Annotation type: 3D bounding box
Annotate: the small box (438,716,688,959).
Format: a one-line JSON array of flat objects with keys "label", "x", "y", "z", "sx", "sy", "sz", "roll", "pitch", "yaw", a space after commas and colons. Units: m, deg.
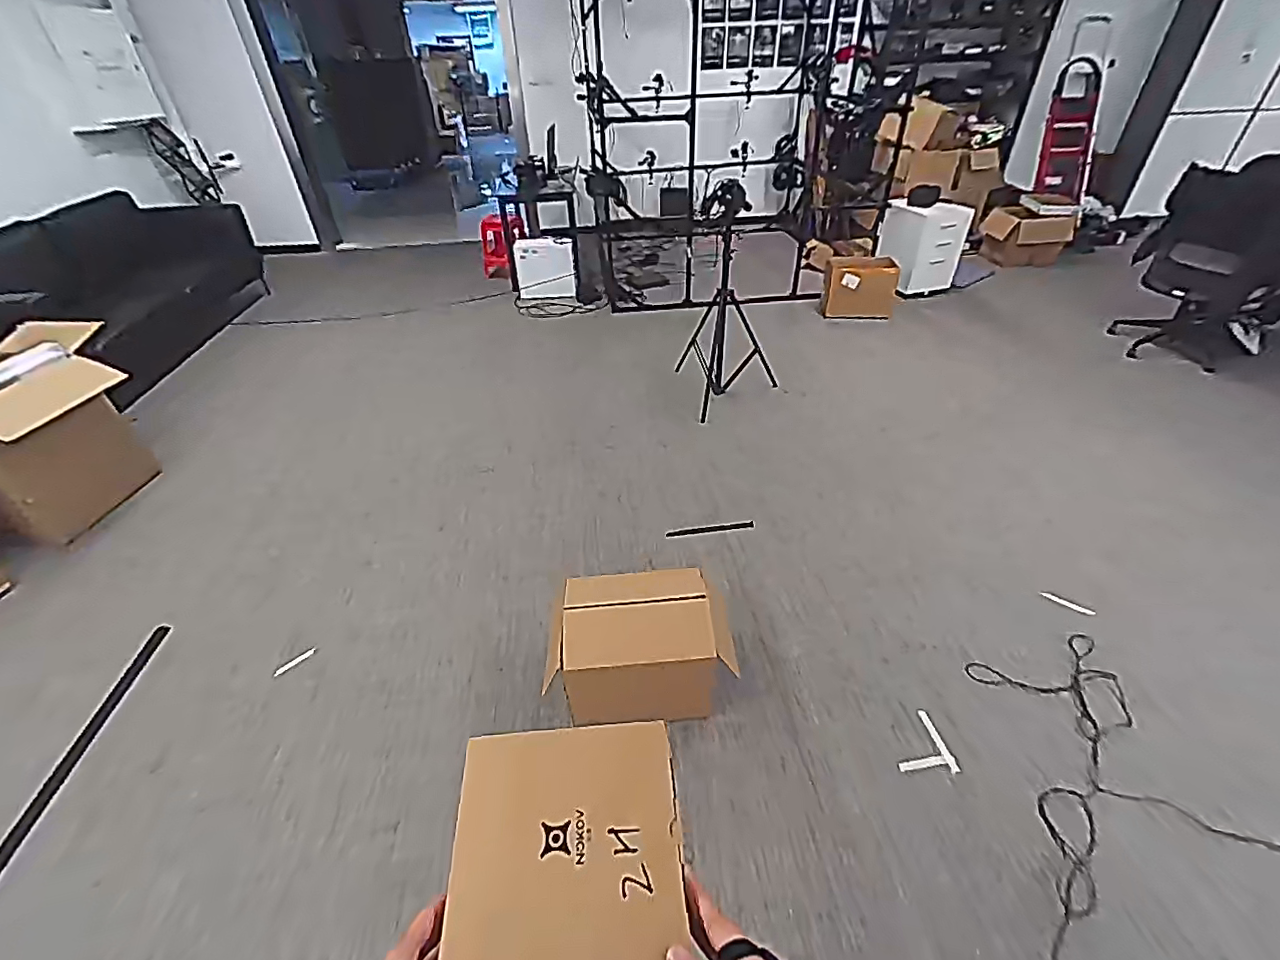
[{"label": "small box", "x": -0.056, "y": 0.330, "z": 0.480, "sx": 0.179, "sy": 0.176, "sz": 0.168, "roll": -4, "pitch": 46, "yaw": -3}]
